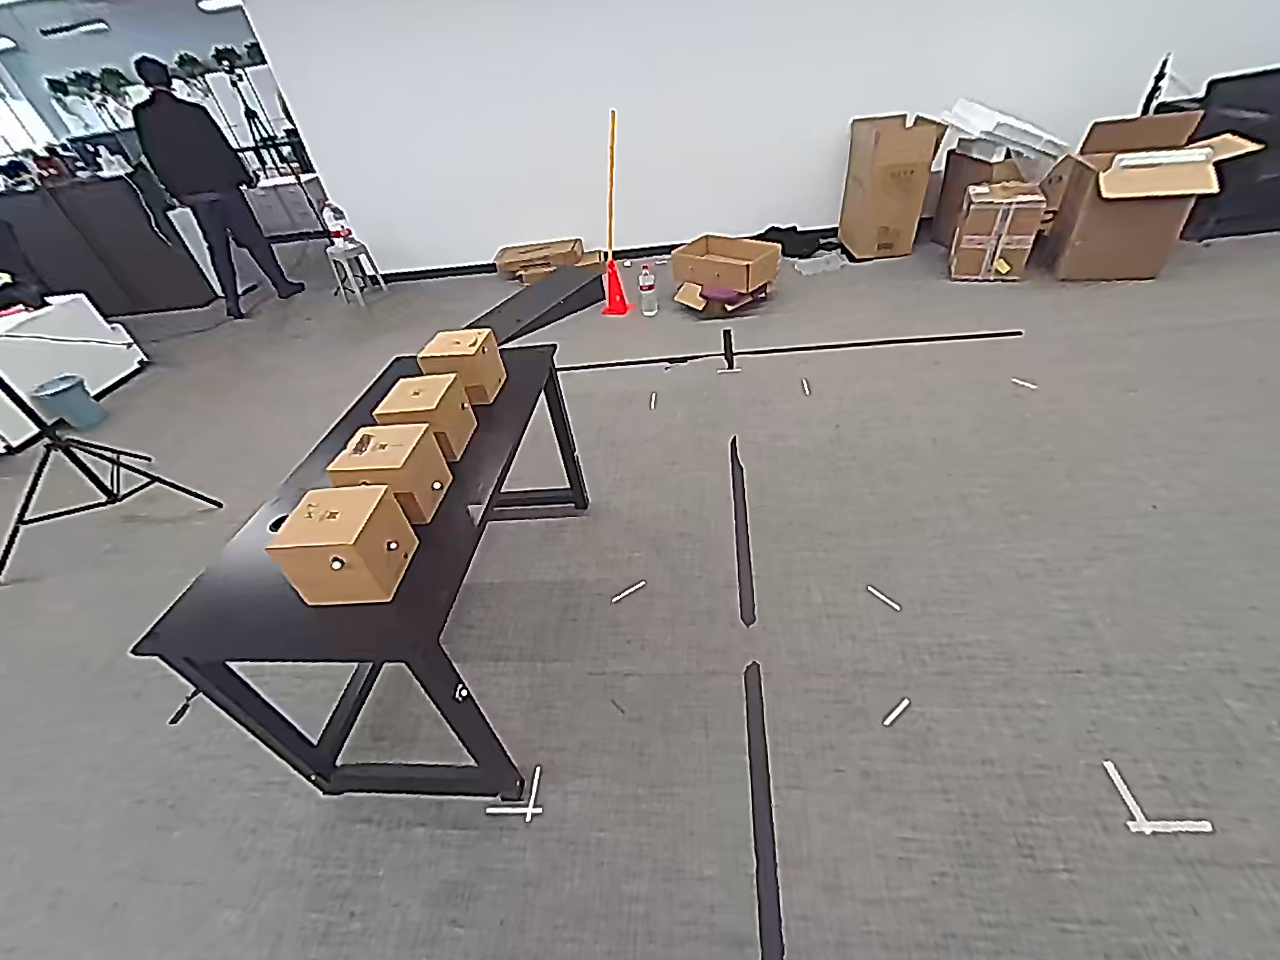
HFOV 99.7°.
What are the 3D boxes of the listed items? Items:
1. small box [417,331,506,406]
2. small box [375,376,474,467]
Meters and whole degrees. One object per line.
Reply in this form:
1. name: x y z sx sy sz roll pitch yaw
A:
1. small box: -0.532 -0.333 1.636 0.179 0.176 0.168 -3 41 10
2. small box: -0.557 -0.154 1.431 0.168 0.176 0.179 -5 41 8
